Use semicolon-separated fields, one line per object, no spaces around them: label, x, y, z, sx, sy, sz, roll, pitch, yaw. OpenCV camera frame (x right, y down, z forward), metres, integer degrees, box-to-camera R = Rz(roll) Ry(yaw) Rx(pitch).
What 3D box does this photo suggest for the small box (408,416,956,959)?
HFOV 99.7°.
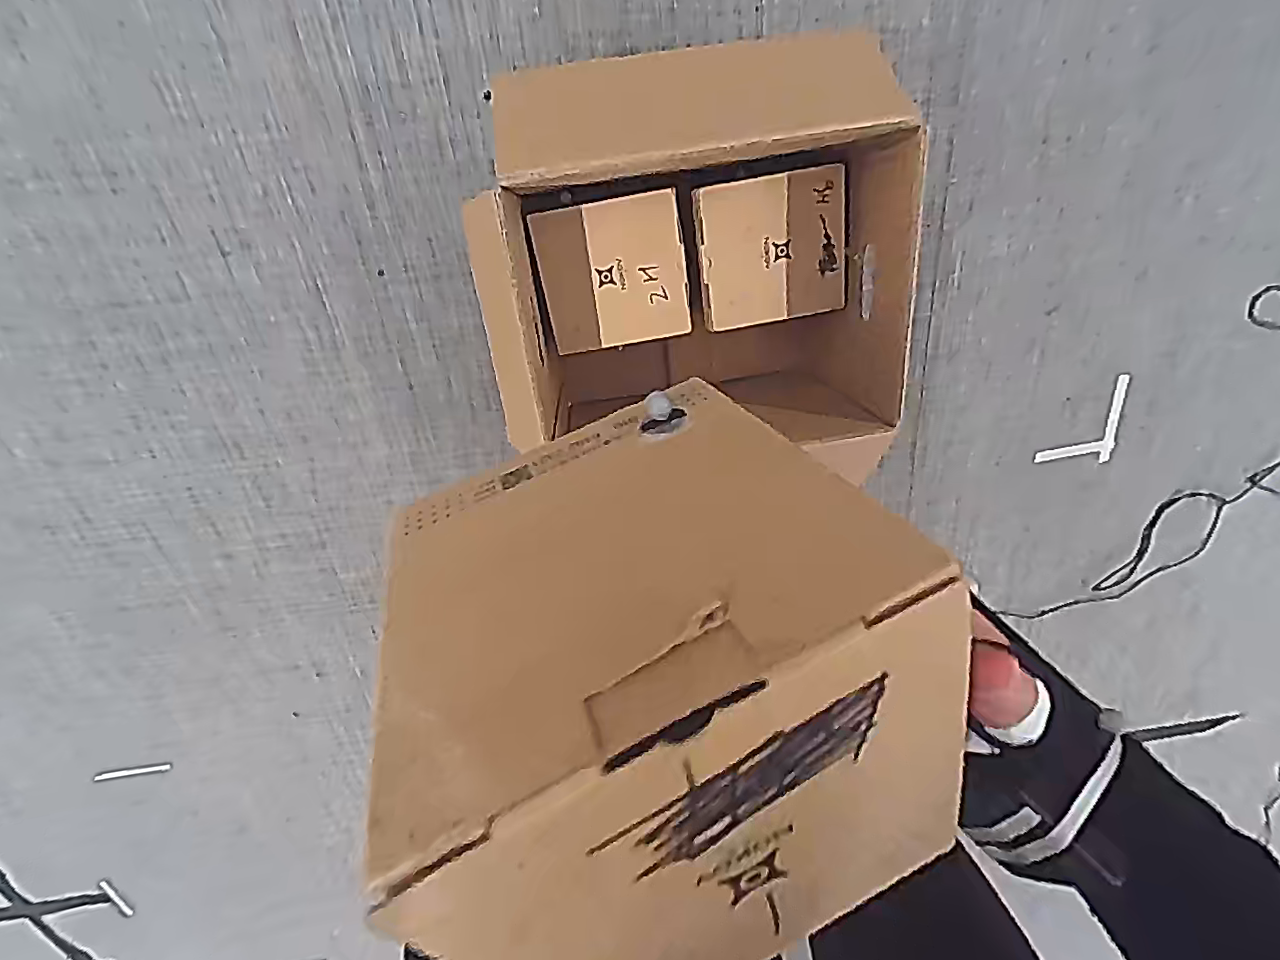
small box;0.010;0.088;0.251;0.168;0.176;0.179;-25;124;-8
